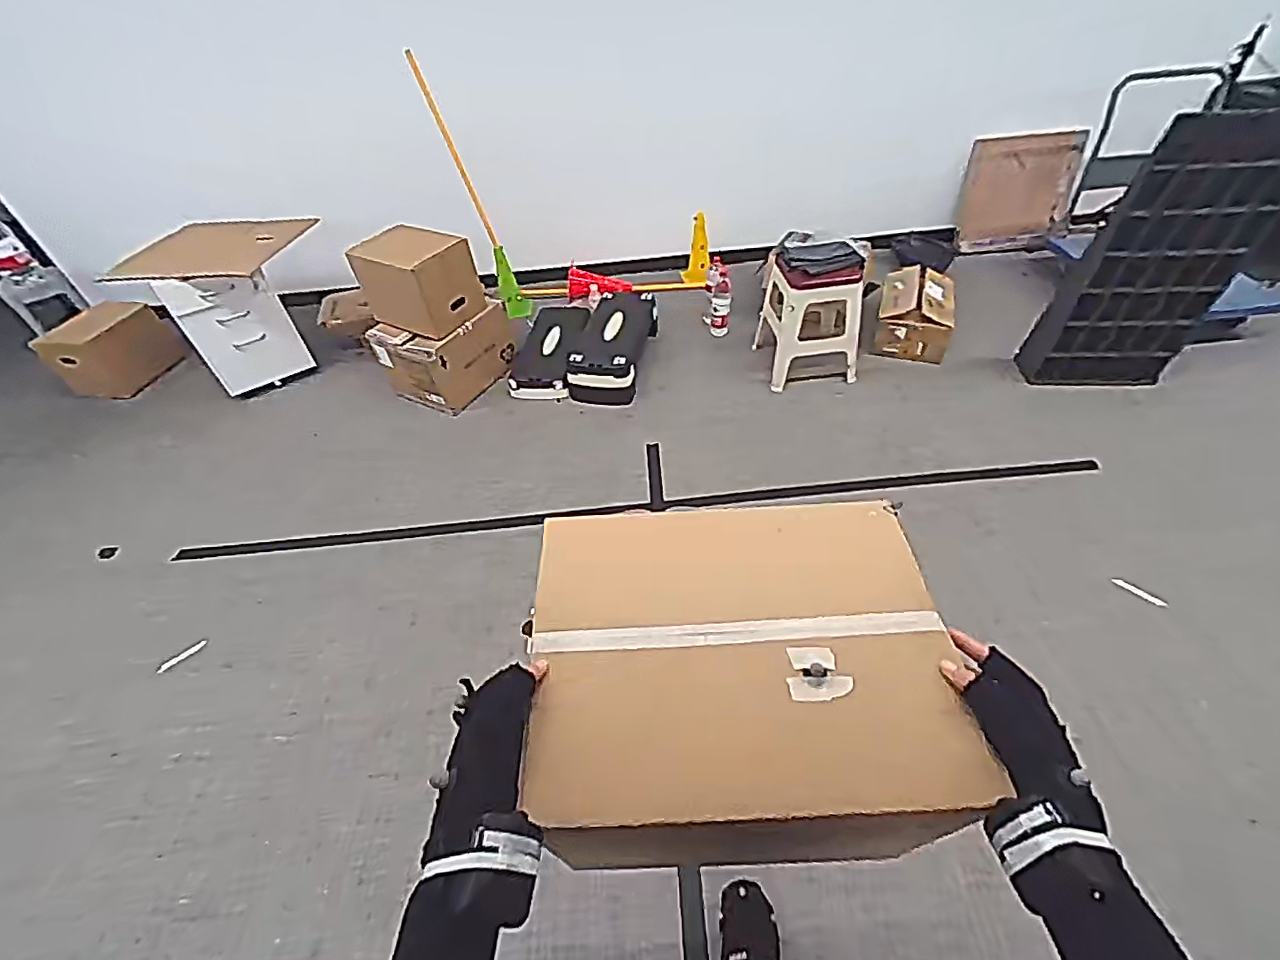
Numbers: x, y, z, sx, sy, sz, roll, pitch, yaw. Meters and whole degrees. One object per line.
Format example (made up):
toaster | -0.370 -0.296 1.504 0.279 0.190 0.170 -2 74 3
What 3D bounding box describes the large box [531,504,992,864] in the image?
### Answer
large box | 0.100 0.254 0.665 0.408 0.320 0.320 -3 50 0
